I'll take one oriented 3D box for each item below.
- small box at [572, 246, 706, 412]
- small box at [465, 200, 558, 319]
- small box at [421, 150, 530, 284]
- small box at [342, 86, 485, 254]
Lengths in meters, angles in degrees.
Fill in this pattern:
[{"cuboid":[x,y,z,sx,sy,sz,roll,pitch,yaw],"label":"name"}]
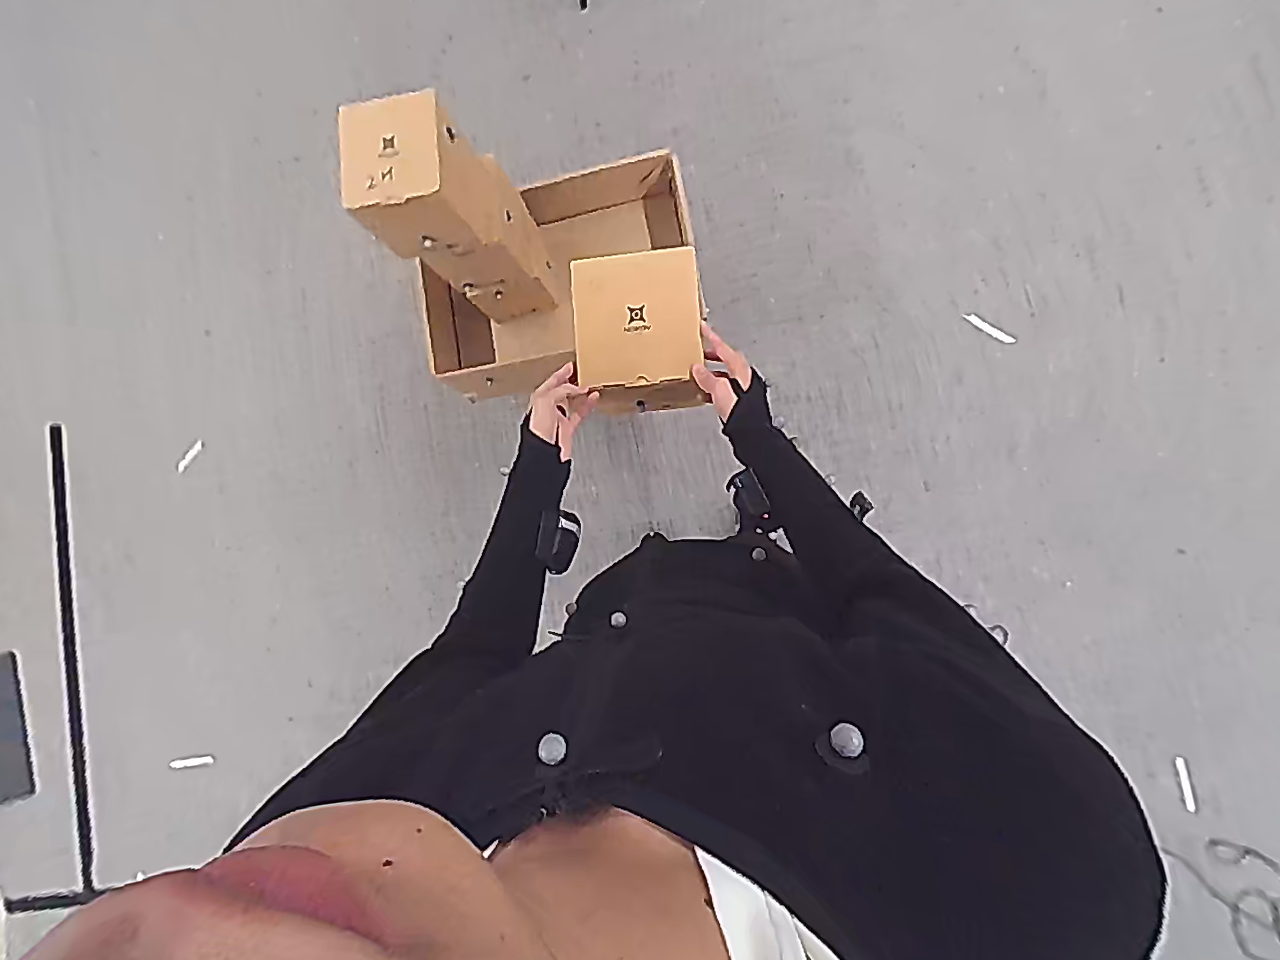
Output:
[{"cuboid":[0.003,-0.205,0.779,0.168,0.176,0.179,-5,86,5],"label":"small box"},{"cuboid":[-0.301,-0.497,1.242,0.168,0.176,0.179,-13,84,6],"label":"small box"},{"cuboid":[-0.326,-0.510,1.079,0.168,0.176,0.179,-6,85,6],"label":"small box"},{"cuboid":[-0.377,-0.515,0.920,0.168,0.176,0.179,-5,86,7],"label":"small box"}]
